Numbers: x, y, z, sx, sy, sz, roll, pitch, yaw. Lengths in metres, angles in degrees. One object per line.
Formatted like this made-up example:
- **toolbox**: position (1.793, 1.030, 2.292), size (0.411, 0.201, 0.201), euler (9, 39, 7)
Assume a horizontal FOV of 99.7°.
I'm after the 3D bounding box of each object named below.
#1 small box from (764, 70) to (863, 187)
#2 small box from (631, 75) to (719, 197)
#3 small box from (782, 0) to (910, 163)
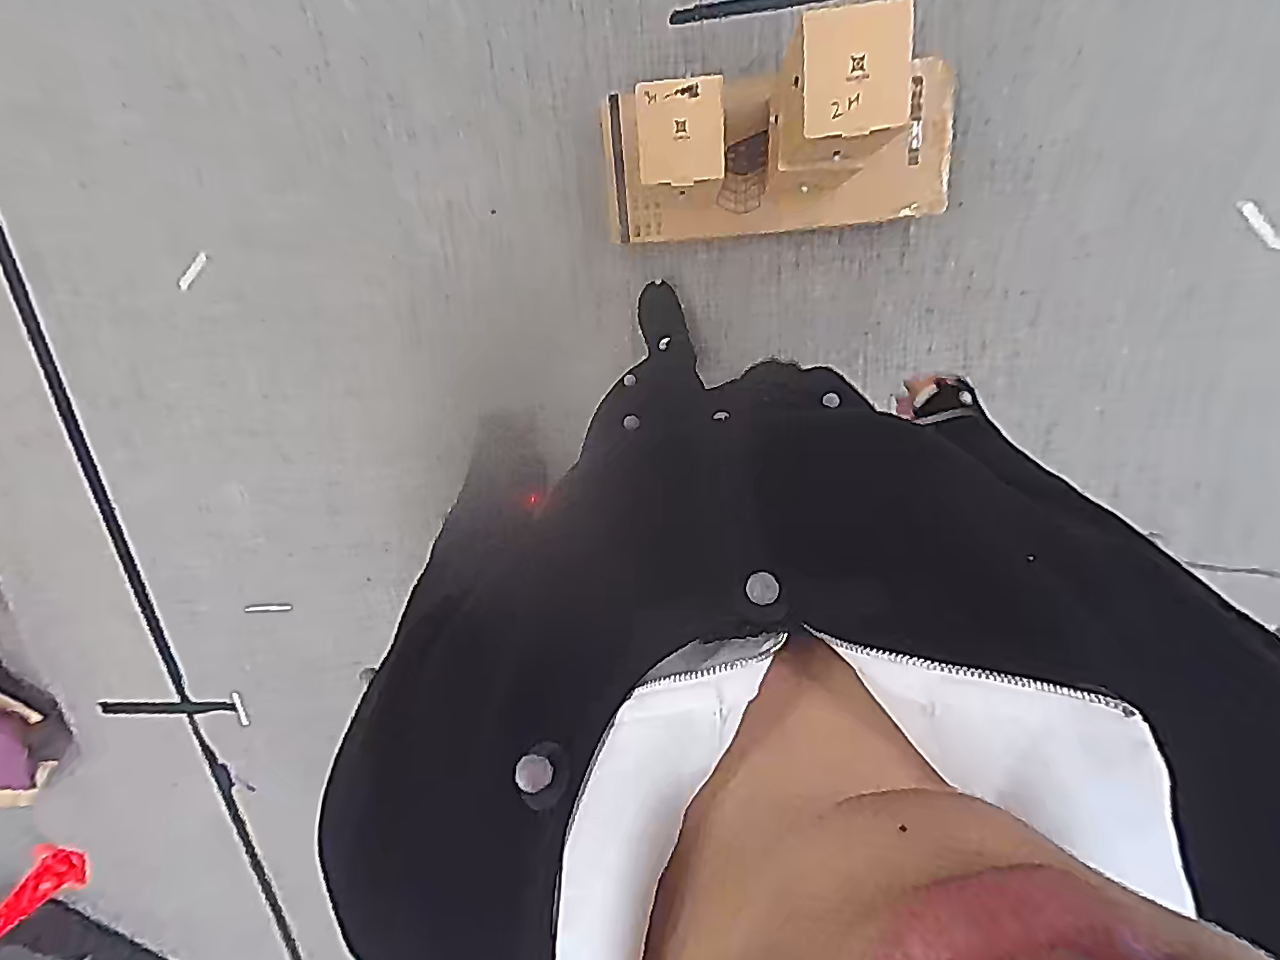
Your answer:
- **small box**: position (0.345, -0.702, 1.082), size (0.168, 0.176, 0.179), euler (0, 108, 4)
- **small box**: position (0.076, -0.687, 1.102), size (0.168, 0.176, 0.179), euler (-2, 109, 6)
- **small box**: position (0.338, -0.666, 0.919), size (0.168, 0.176, 0.179), euler (-4, 107, 6)
